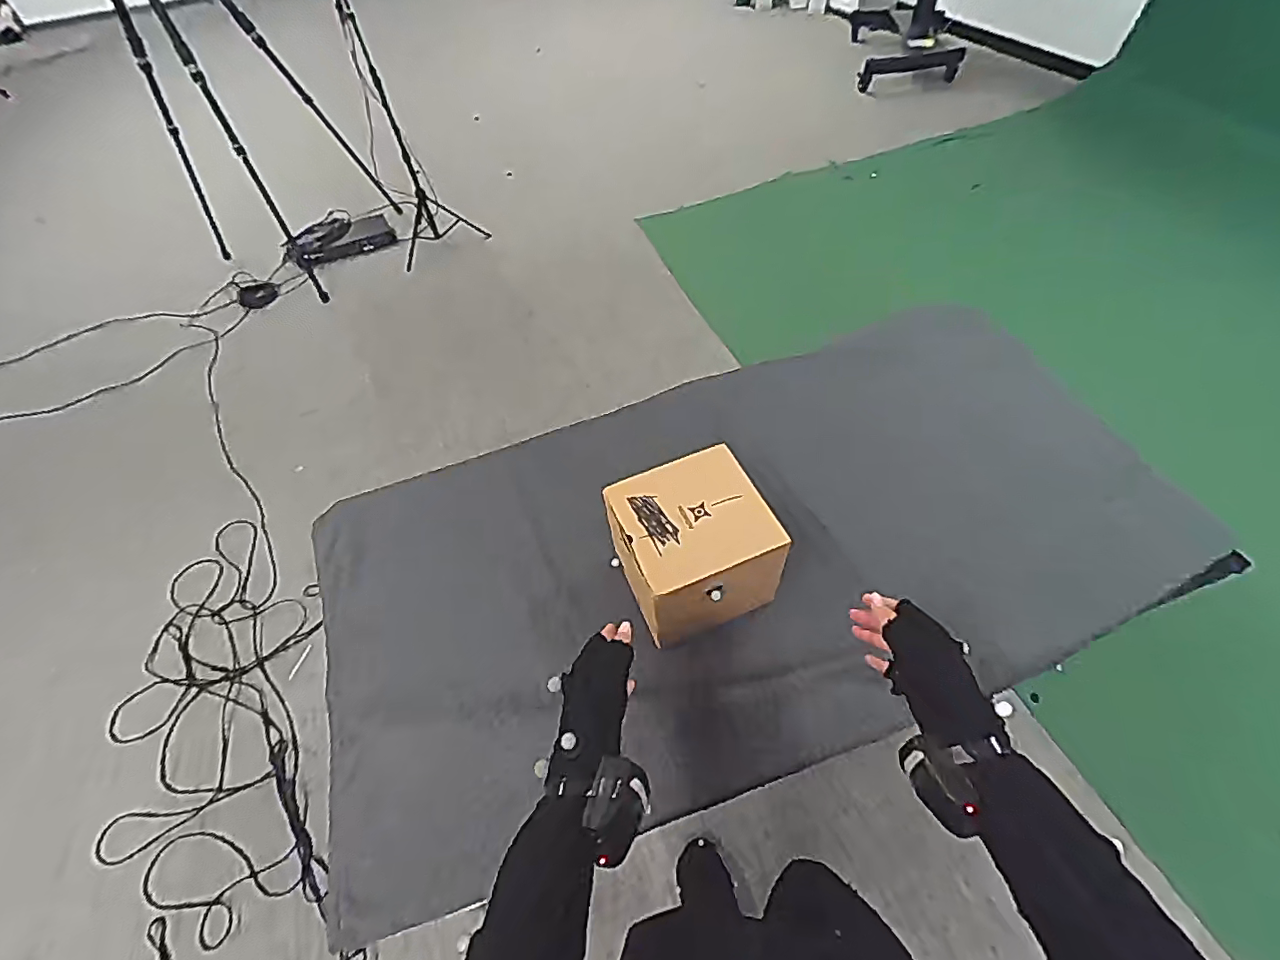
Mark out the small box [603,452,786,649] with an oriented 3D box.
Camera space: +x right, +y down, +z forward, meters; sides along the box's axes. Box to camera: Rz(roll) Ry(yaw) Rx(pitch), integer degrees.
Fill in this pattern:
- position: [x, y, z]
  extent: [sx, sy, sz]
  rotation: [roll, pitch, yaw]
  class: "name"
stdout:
- position: [0.068, 0.098, 0.715]
  extent: [0.179, 0.176, 0.168]
  rotation: [-20, 54, -11]
  class: "small box"
